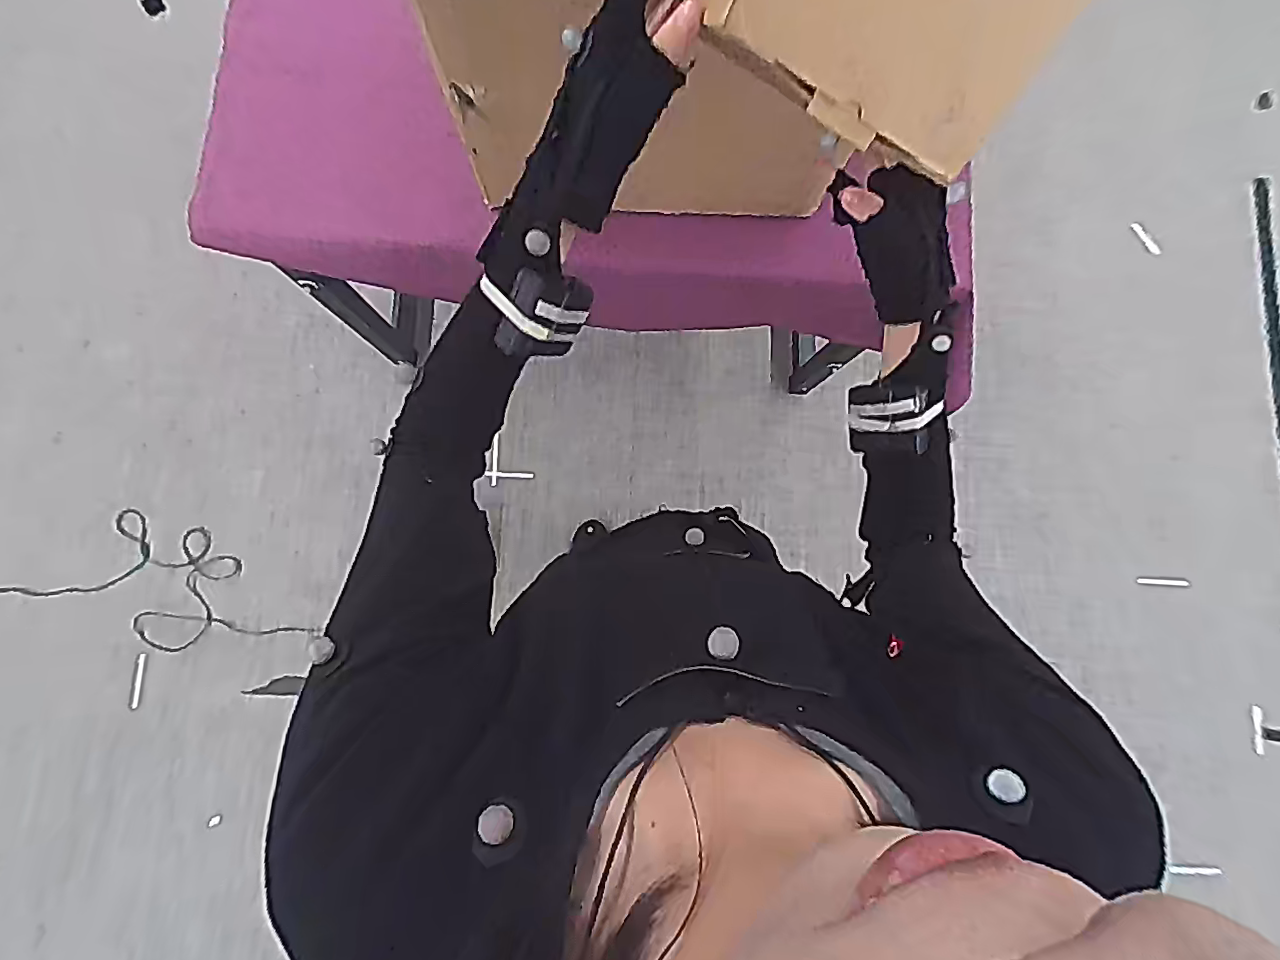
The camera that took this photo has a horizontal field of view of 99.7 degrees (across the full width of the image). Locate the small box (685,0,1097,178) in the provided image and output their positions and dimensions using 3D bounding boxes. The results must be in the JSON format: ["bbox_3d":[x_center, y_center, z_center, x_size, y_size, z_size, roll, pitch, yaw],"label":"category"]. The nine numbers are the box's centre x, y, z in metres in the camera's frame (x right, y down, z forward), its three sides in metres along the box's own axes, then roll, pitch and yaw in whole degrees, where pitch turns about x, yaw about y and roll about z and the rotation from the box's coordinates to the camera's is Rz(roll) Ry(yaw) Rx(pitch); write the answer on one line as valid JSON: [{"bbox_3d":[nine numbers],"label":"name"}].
[{"bbox_3d":[0.137,-0.306,0.291,0.168,0.176,0.179,14,127,-23],"label":"small box"}]
